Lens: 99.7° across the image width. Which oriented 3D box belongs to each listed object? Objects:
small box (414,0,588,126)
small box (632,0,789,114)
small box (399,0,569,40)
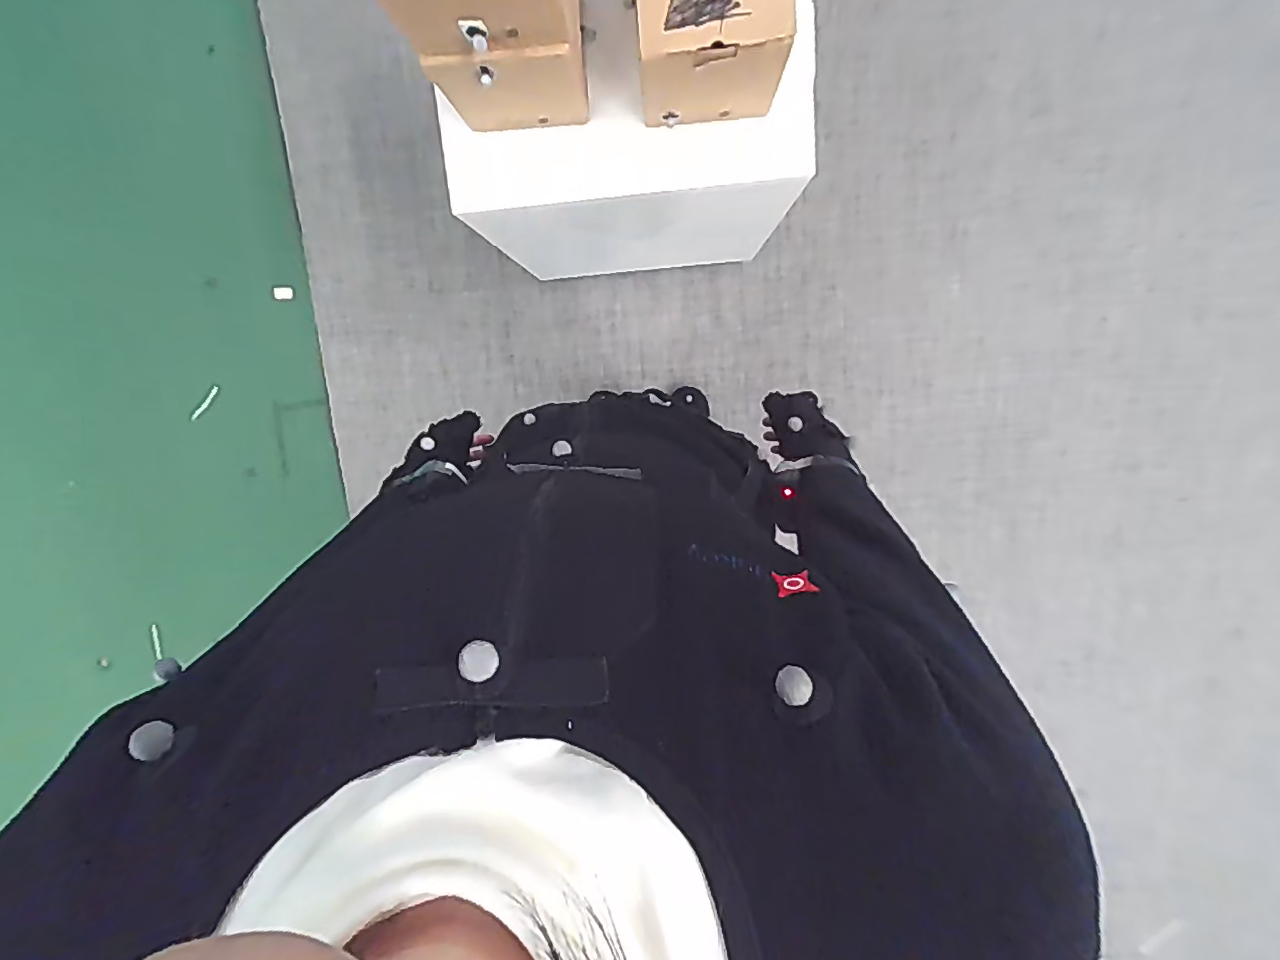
[{"bbox_3d":[-0.157,-0.559,0.643,0.168,0.176,0.179,-2,100,4],"label":"small box"},{"bbox_3d":[0.076,-0.558,0.631,0.168,0.176,0.179,-3,100,4],"label":"small box"},{"bbox_3d":[-0.161,-0.533,0.467,0.168,0.176,0.179,-4,102,4],"label":"small box"}]
